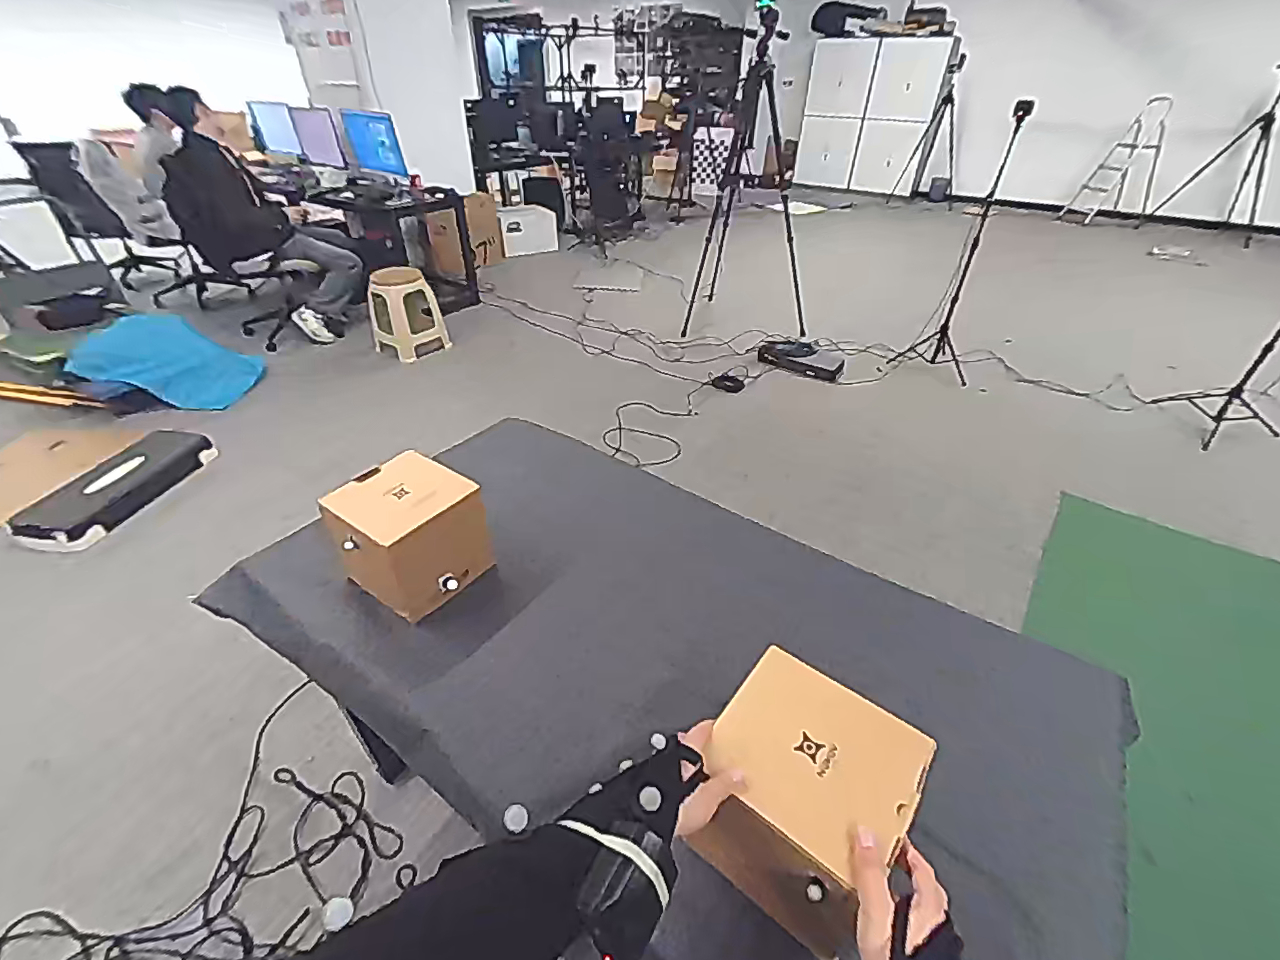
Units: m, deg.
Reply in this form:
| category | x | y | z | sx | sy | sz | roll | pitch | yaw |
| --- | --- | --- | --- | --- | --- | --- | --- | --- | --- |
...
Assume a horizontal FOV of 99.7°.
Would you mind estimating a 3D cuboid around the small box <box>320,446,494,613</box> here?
| category | x | y | z | sx | sy | sz | roll | pitch | yaw |
| --- | --- | --- | --- | --- | --- | --- | --- | --- | --- |
| small box | -0.356 | 0.077 | 0.851 | 0.179 | 0.176 | 0.168 | 24 | 44 | 26 |

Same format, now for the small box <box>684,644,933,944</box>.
| category | x | y | z | sx | sy | sz | roll | pitch | yaw |
| --- | --- | --- | --- | --- | --- | --- | --- | --- | --- |
| small box | 0.159 | 0.312 | 0.549 | 0.179 | 0.176 | 0.168 | 27 | 44 | 30 |
